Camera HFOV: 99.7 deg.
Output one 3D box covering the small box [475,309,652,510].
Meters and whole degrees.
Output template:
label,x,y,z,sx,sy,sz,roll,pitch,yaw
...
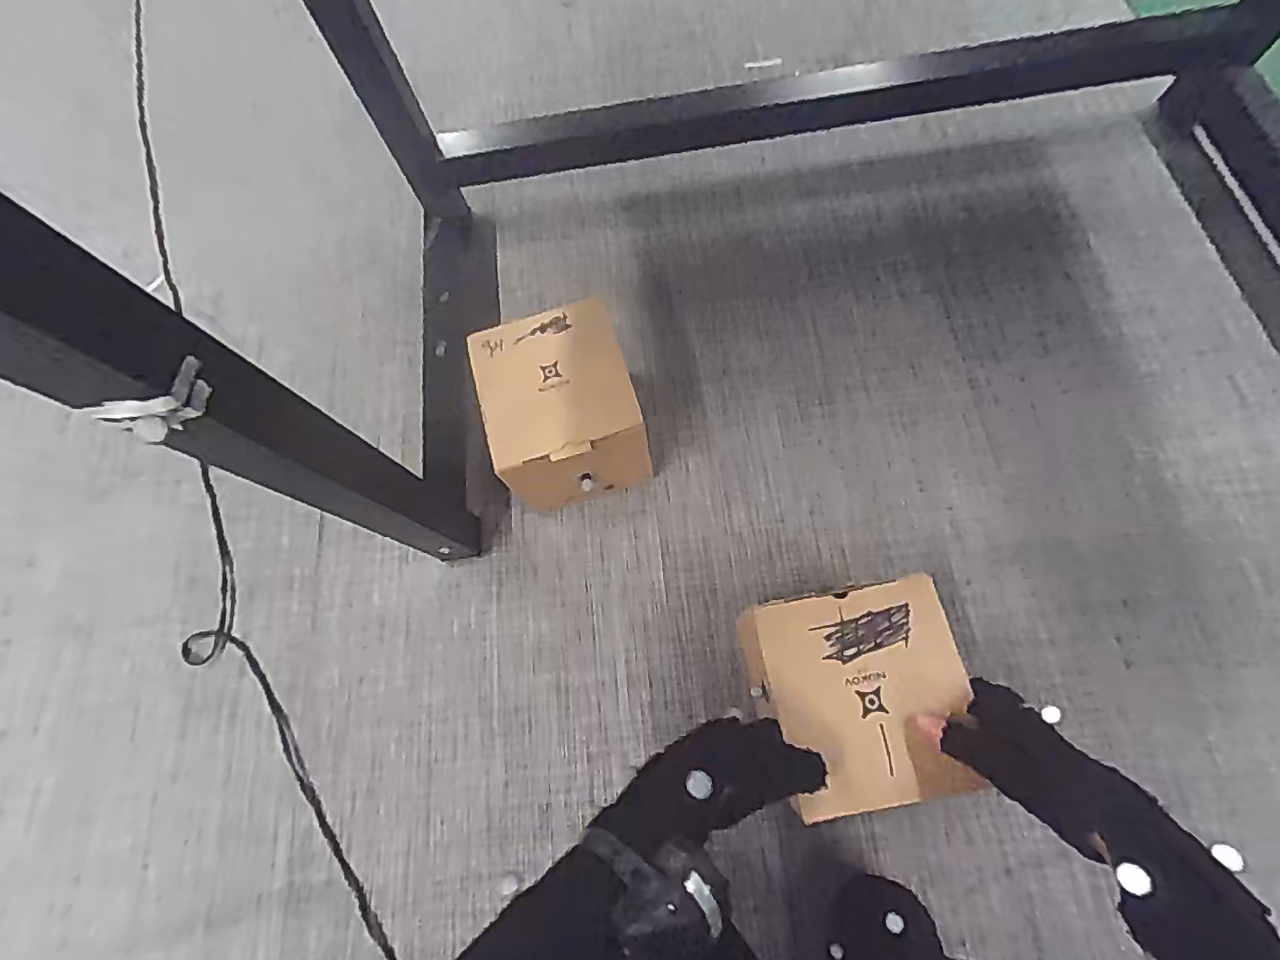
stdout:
label,x,y,z,sx,sy,sz,roll,pitch,yaw
small box,-0.085,-0.073,0.668,0.168,0.176,0.179,-15,71,-3
